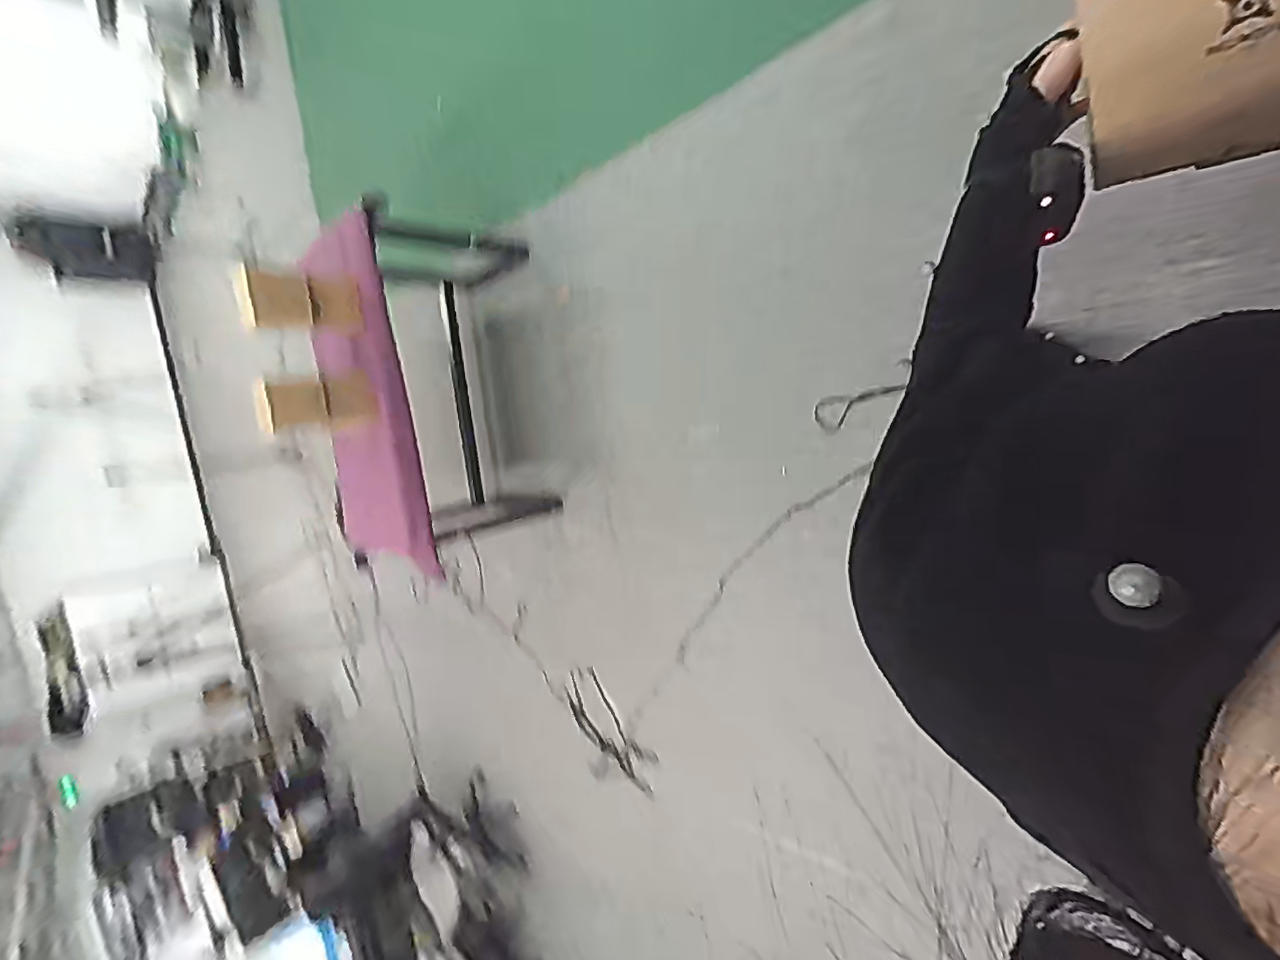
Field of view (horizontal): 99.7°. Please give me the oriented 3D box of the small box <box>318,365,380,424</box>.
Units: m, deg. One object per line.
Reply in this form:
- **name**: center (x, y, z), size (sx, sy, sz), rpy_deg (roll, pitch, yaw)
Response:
- **small box**: center (-1.052, -0.306, 1.929), size (0.168, 0.176, 0.179), rpy_deg (-8, 94, 44)

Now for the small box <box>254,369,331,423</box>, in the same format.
- **small box**: center (-1.158, -0.280, 1.805), size (0.179, 0.176, 0.168), rpy_deg (2, 102, 43)

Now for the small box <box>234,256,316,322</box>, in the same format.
- **small box**: center (-1.159, -0.604, 1.723), size (0.168, 0.176, 0.179), rpy_deg (6, 106, 43)

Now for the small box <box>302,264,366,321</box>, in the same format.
- **small box**: center (-1.069, -0.639, 1.859), size (0.168, 0.176, 0.179), rpy_deg (14, 112, 42)
